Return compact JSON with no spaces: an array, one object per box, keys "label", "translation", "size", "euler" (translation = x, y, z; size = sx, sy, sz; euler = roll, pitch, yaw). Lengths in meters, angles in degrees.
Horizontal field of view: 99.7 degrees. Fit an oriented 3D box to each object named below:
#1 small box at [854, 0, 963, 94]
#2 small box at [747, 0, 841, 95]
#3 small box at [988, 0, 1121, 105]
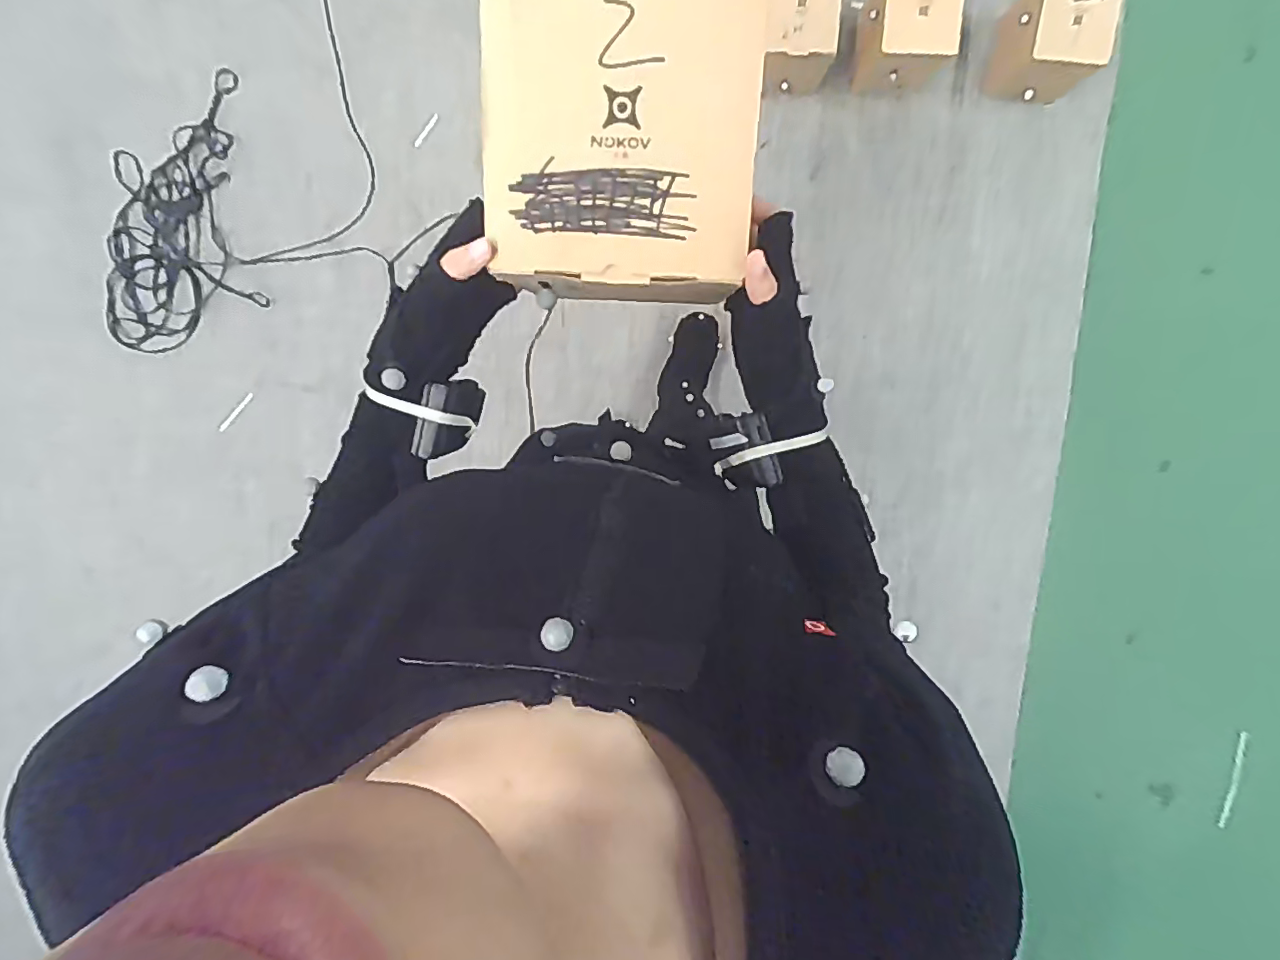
[{"label":"small box","translation":[0.595,-1.004,1.214],"size":[0.168,0.176,0.179],"euler":[1,99,0]},{"label":"small box","translation":[0.340,-1.007,1.211],"size":[0.168,0.176,0.179],"euler":[2,100,1]},{"label":"small box","translation":[0.921,-0.988,1.214],"size":[0.168,0.176,0.179],"euler":[5,101,0]}]
